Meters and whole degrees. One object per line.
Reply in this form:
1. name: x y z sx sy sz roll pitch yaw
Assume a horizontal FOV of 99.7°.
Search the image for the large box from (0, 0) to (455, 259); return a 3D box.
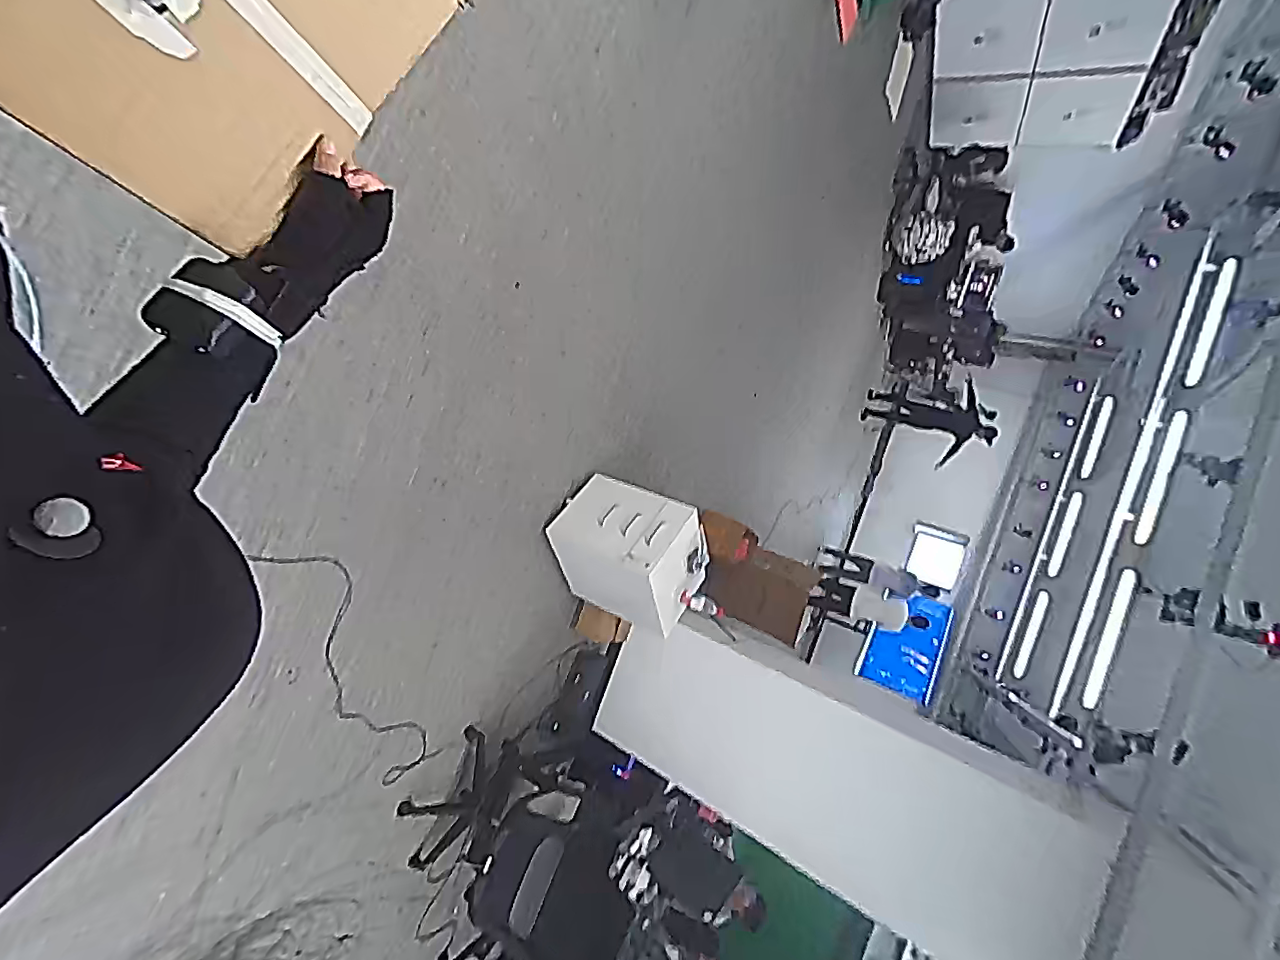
1. large box: -0.431 -0.445 0.380 0.320 0.320 0.408 -54 149 -2
